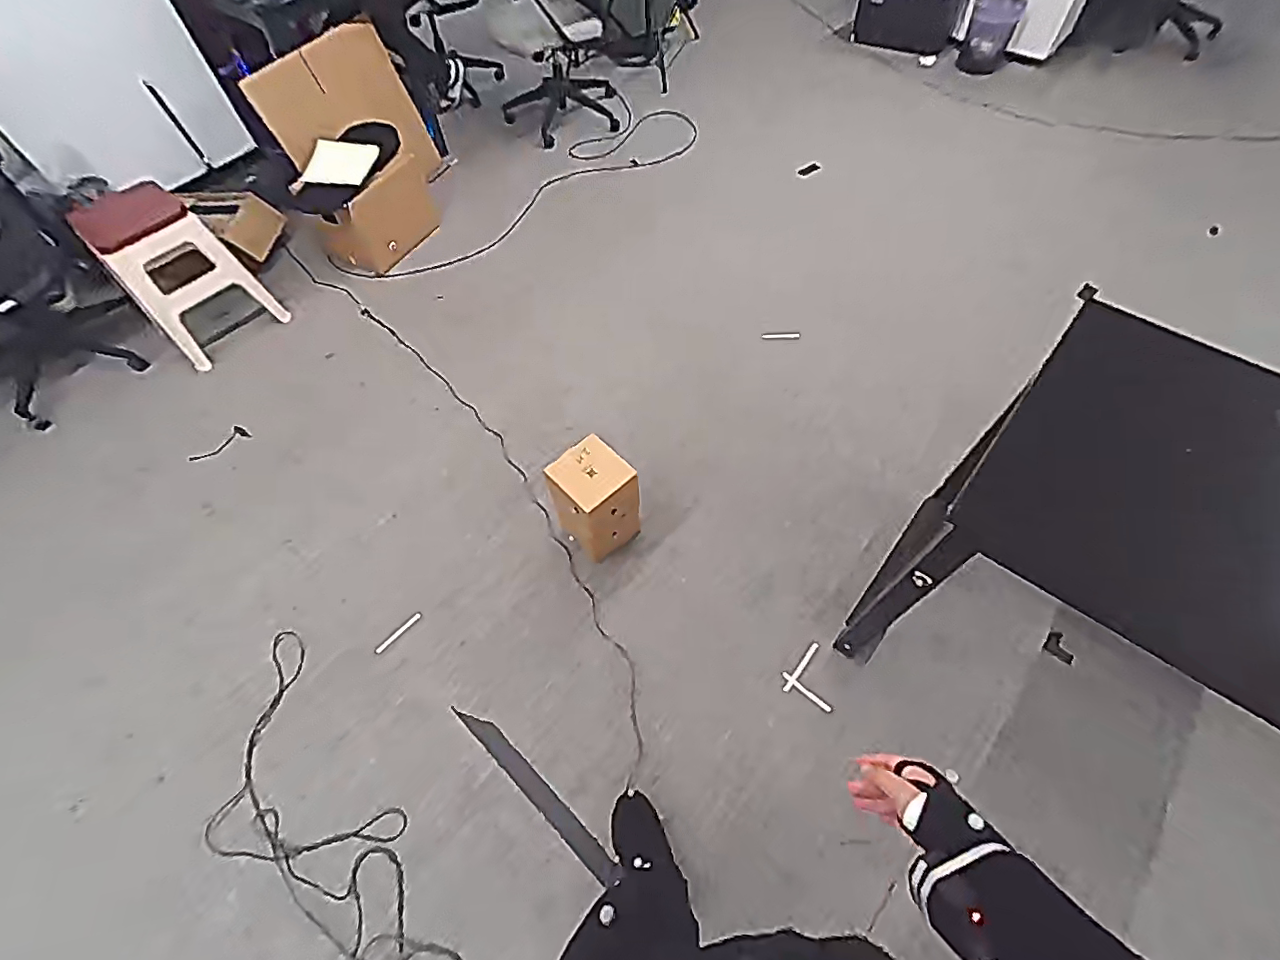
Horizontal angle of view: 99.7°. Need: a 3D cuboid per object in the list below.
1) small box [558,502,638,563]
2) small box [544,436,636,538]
[{"bbox_3d":[-0.120,0.105,1.551,0.179,0.176,0.168,-37,63,-18],"label":"small box"},{"bbox_3d":[-0.122,0.027,1.406,0.168,0.176,0.179,-39,64,-21],"label":"small box"}]
